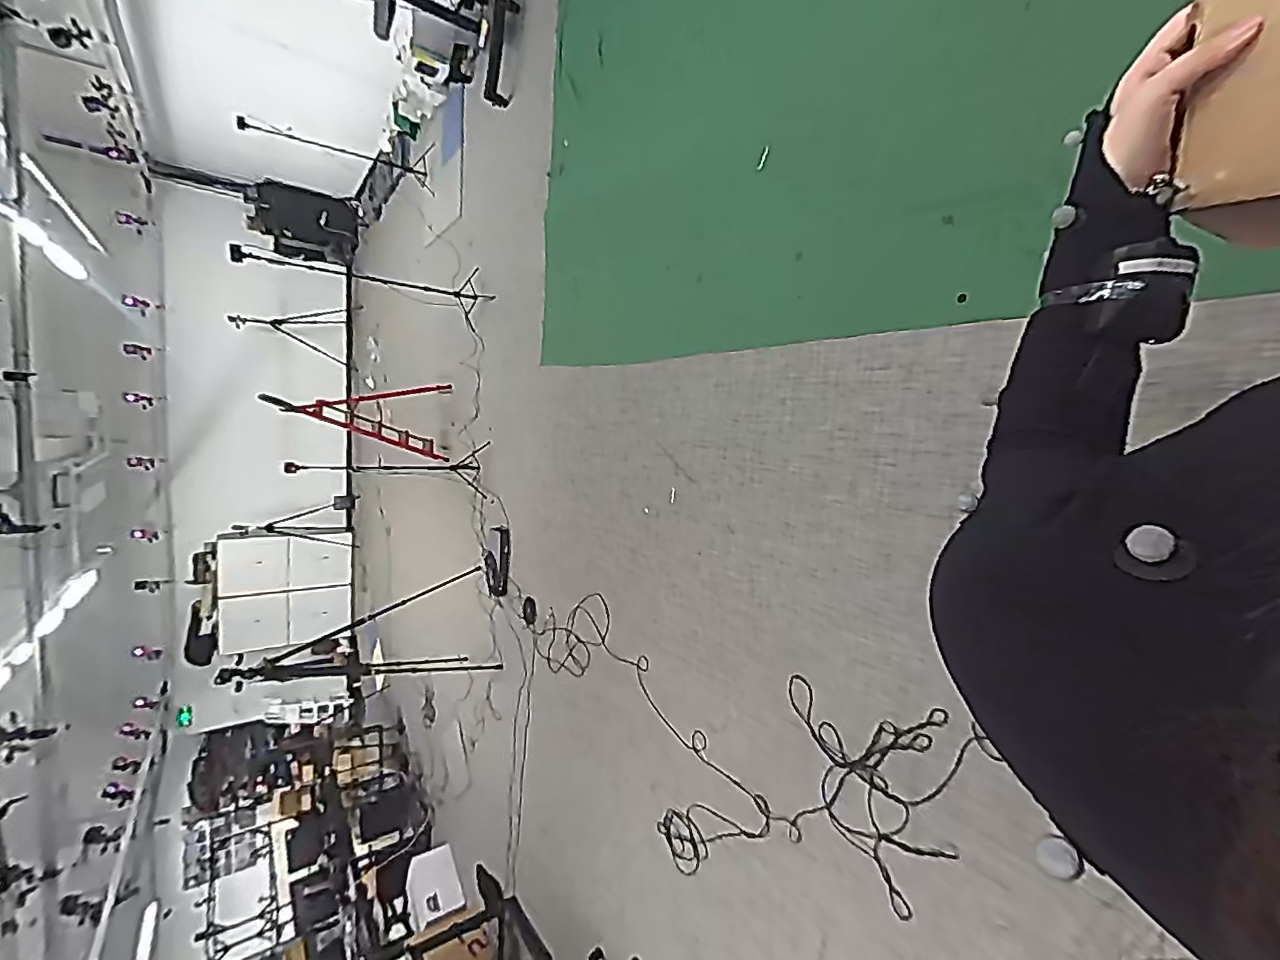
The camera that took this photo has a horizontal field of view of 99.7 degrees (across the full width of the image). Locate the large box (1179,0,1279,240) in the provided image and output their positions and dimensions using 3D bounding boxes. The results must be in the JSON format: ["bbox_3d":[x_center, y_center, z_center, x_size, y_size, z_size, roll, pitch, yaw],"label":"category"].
[{"bbox_3d":[0.629,-0.342,0.291,0.408,0.320,0.320,15,111,55],"label":"large box"}]
